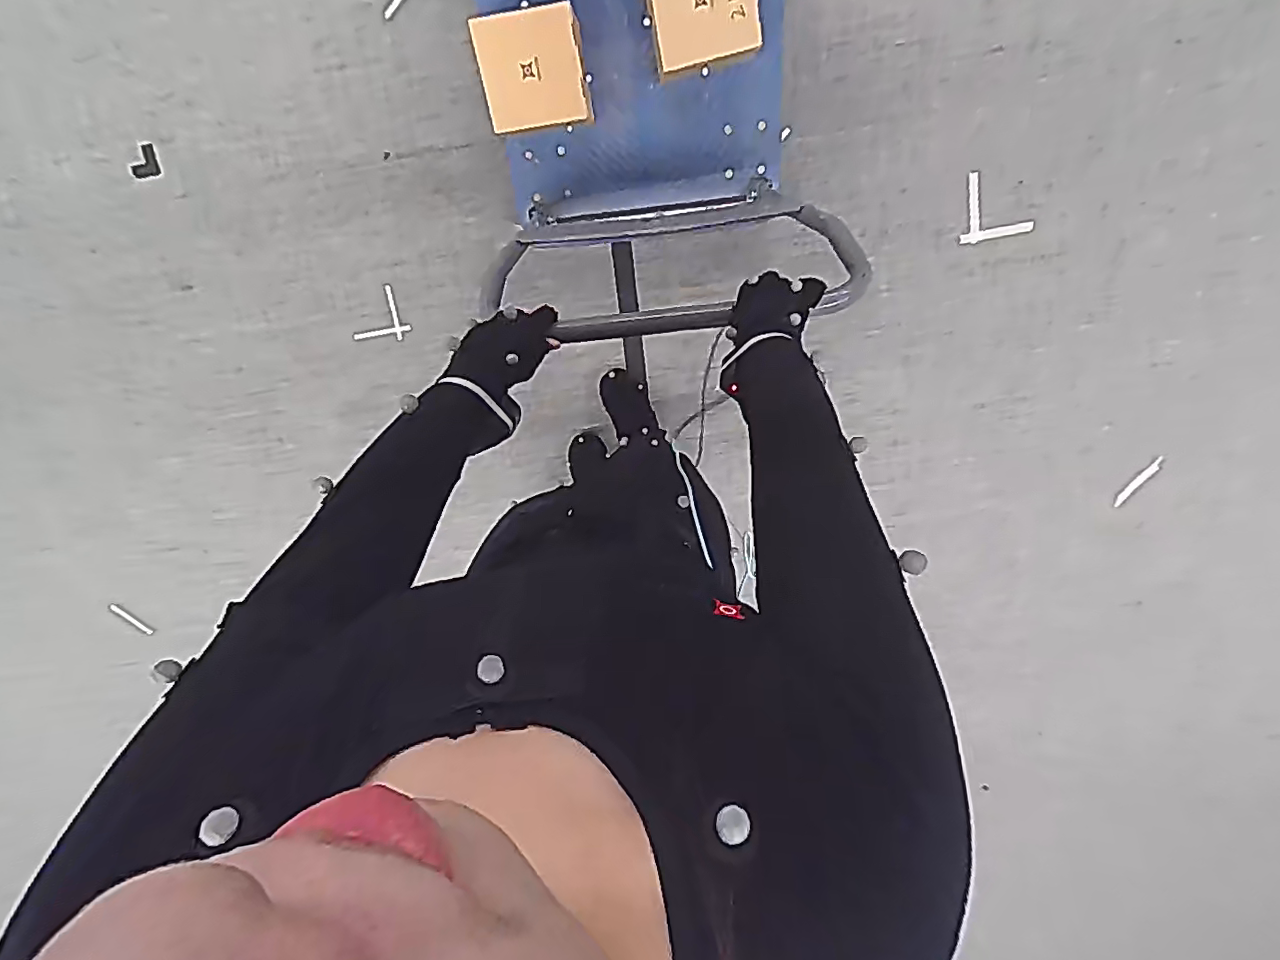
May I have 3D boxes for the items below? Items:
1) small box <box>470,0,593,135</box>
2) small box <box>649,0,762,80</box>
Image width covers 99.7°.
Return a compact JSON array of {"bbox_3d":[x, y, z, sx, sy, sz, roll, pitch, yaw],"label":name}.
[{"bbox_3d":[-0.190,-0.753,1.005,0.179,0.176,0.168,-8,120,3],"label":"small box"},{"bbox_3d":[0.108,-0.834,0.957,0.179,0.176,0.168,-10,120,6],"label":"small box"}]
